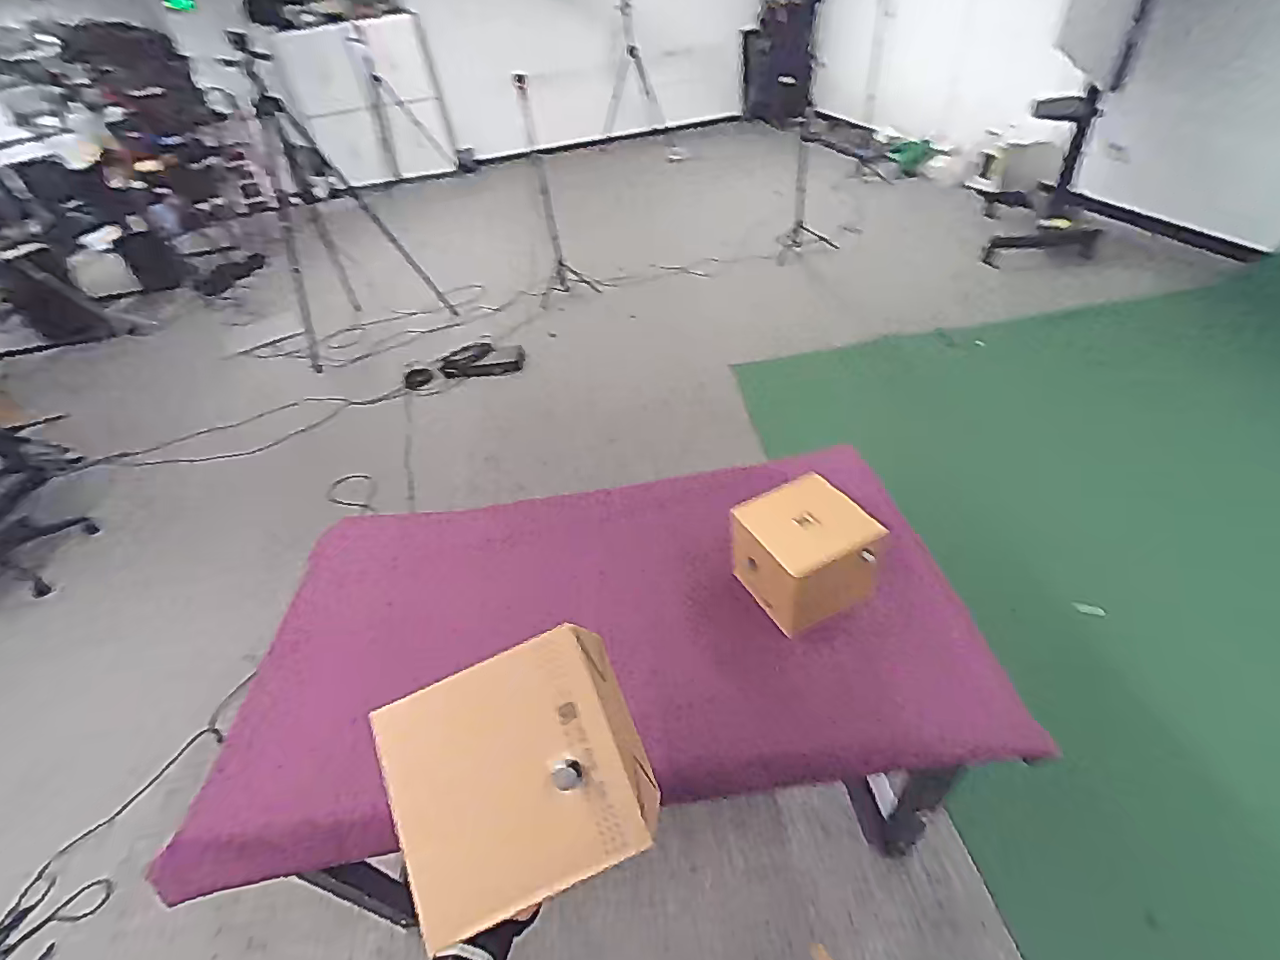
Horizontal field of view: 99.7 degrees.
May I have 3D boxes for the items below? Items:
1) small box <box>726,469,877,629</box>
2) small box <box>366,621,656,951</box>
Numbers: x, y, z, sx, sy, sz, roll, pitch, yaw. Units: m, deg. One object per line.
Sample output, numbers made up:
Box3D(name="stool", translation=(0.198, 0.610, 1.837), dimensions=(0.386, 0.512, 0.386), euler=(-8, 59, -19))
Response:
Box3D(name="small box", translation=(0.263, 0.117, 0.906), dimensions=(0.179, 0.176, 0.168), euler=(-22, 42, -16))
Box3D(name="small box", translation=(-0.091, 0.233, 0.461), dimensions=(0.176, 0.179, 0.168), euler=(-24, 71, -4))
